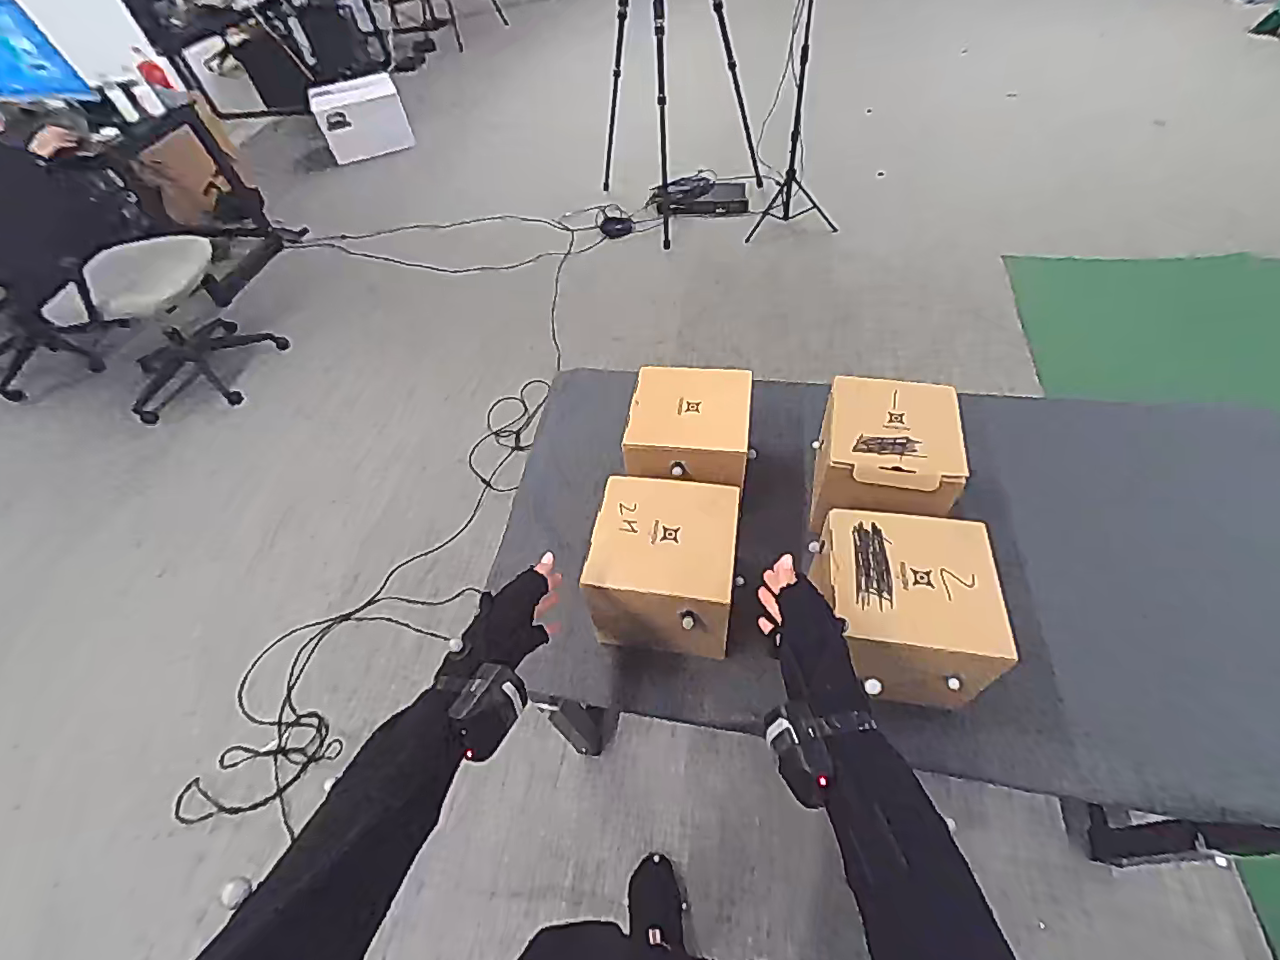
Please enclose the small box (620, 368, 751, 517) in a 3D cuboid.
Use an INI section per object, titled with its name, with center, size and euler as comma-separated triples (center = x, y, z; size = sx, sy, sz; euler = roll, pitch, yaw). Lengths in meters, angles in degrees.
[small box]
center = 0.078, -0.056, 0.852
size = 0.179, 0.176, 0.168
euler = 4, 53, 10
